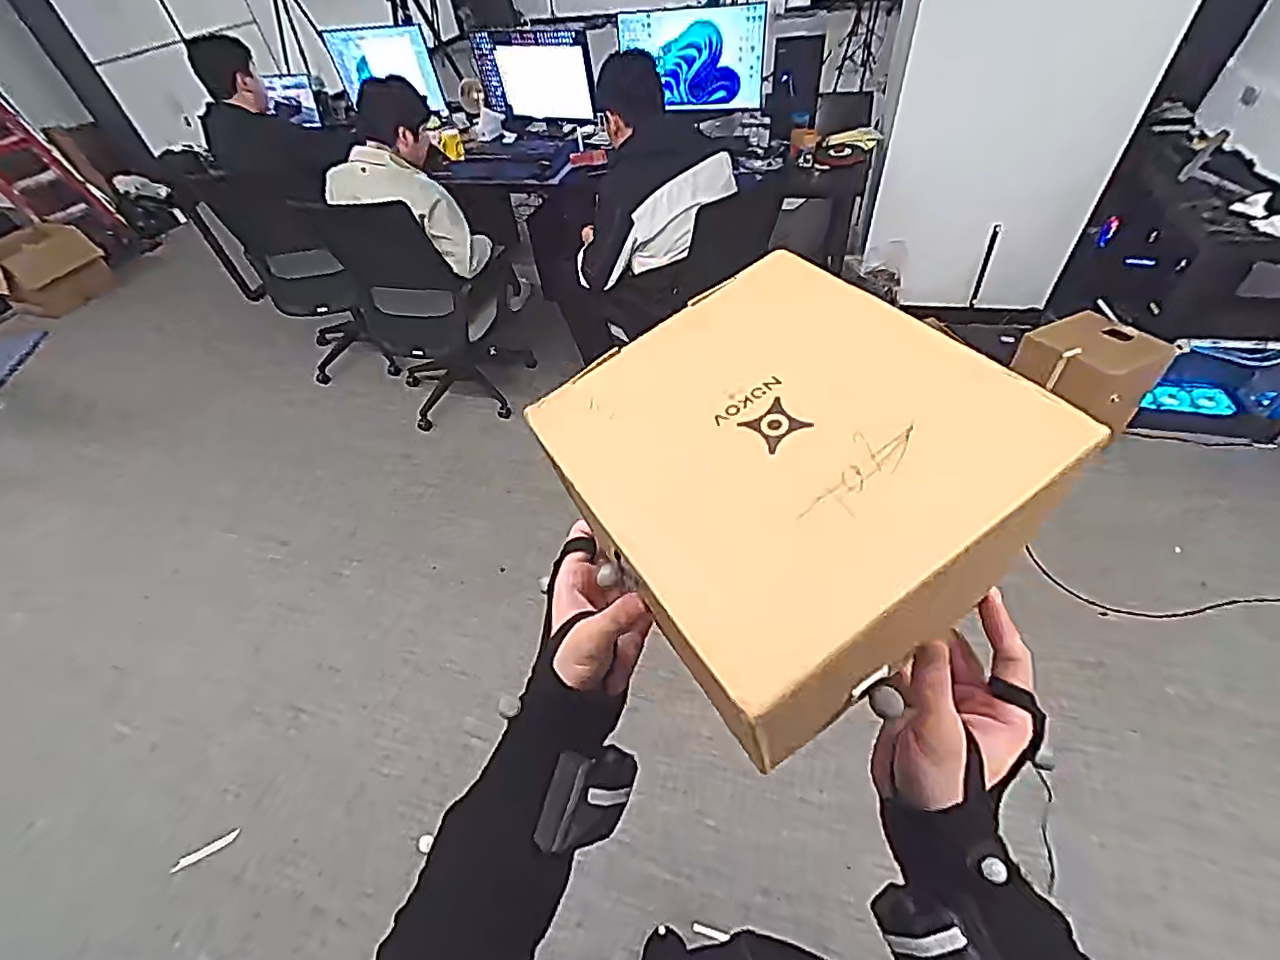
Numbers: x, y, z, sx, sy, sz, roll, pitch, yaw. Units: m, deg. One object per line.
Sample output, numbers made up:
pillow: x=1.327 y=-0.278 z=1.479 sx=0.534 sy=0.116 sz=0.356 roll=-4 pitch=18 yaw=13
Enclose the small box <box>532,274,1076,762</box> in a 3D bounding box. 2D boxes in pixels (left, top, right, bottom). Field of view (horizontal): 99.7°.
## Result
small box: x=0.072 y=0.027 z=0.304 sx=0.168 sy=0.176 sz=0.179 roll=-35 pitch=55 yaw=-8
